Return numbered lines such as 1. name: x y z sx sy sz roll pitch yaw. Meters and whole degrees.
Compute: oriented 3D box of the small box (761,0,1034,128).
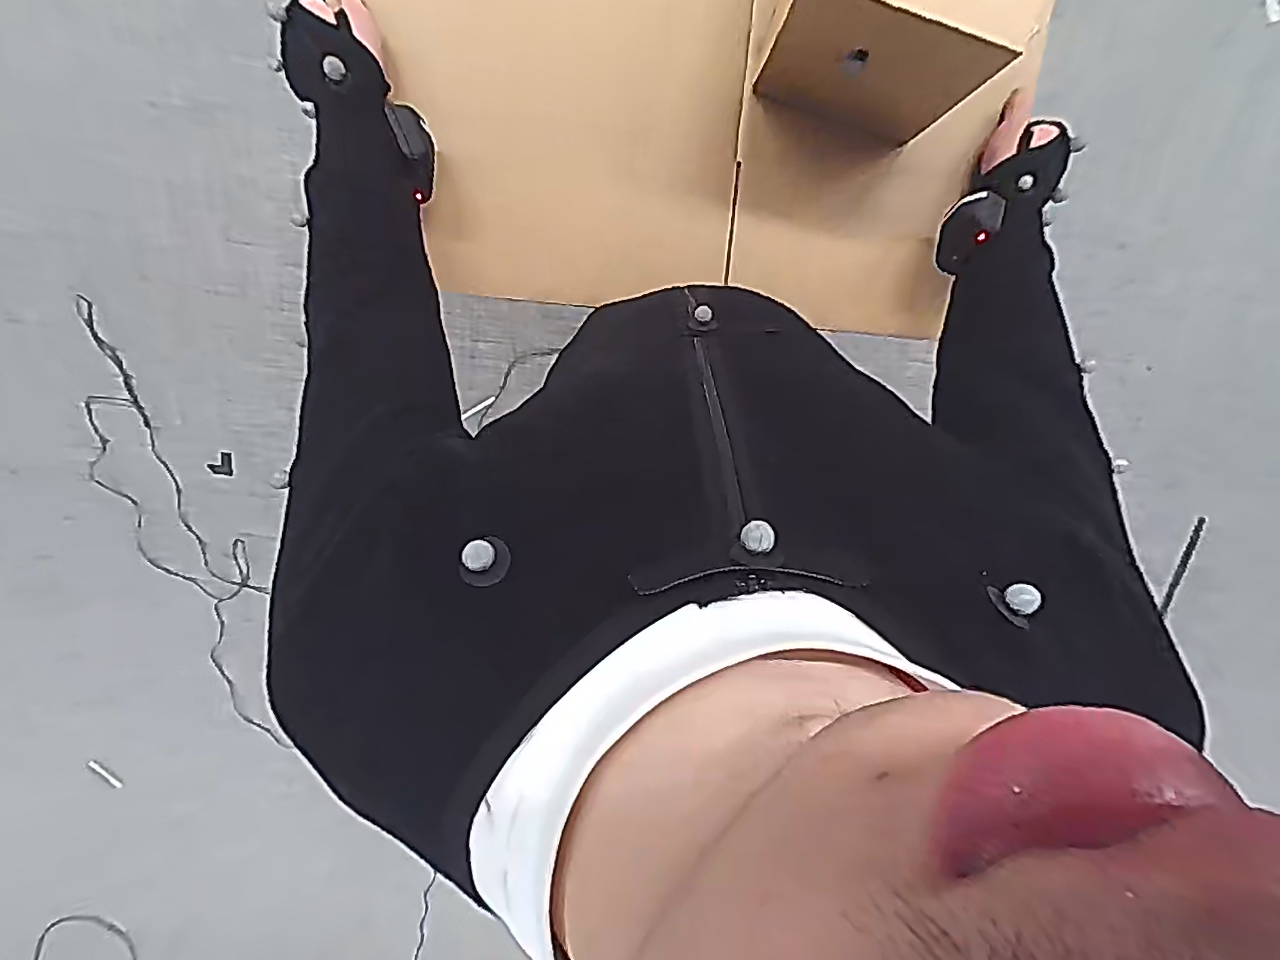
1. small box: 0.221 -0.439 0.463 0.179 0.176 0.168 15 102 -4
